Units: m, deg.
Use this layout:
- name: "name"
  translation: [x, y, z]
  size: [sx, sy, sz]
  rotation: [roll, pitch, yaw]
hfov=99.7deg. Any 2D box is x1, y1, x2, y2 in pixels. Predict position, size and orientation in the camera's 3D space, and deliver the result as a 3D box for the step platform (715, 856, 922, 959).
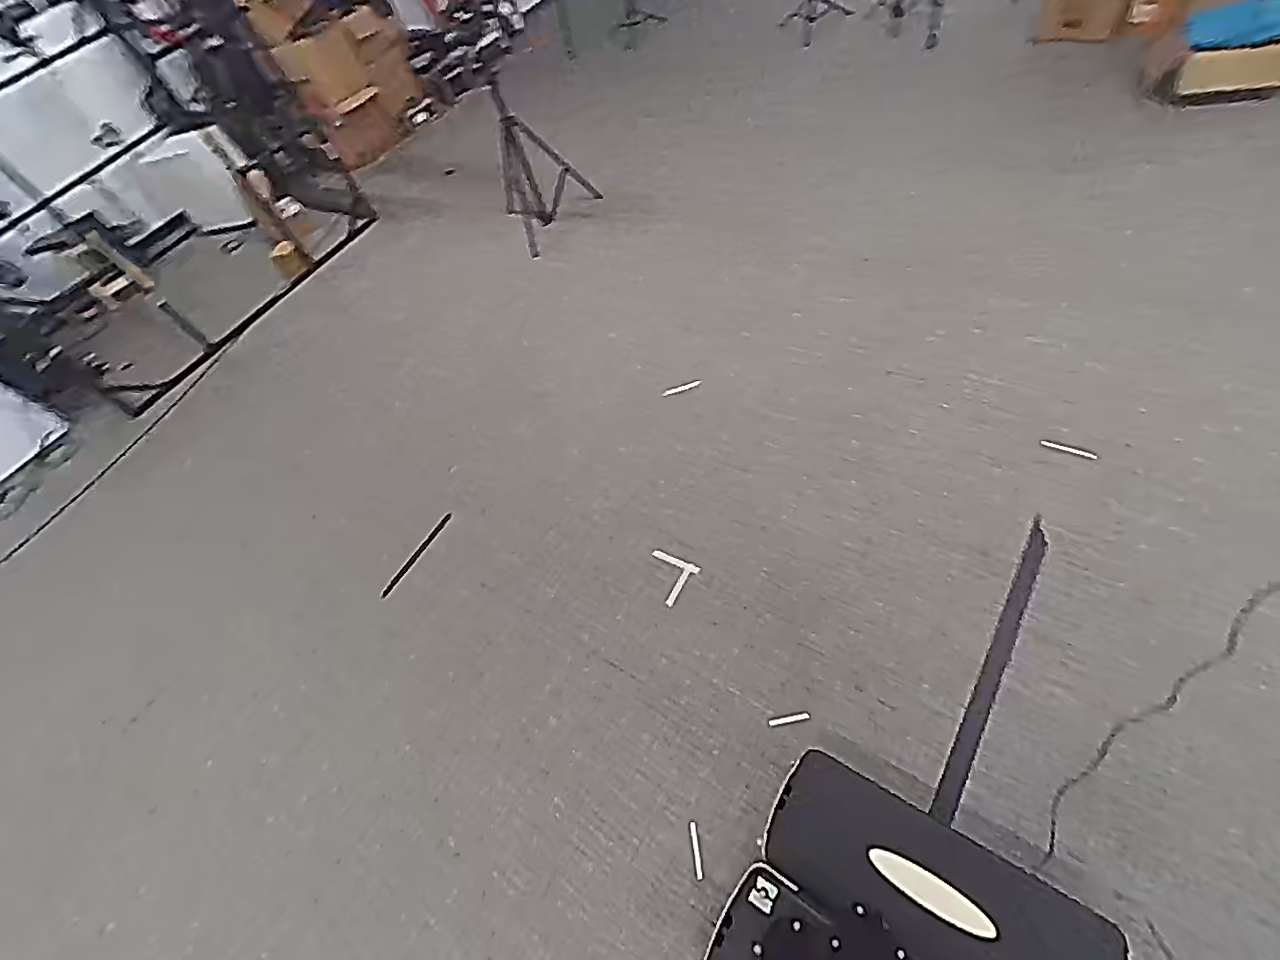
- name: "step platform"
  translation: [0.482, 1.063, 1.033]
  size: [0.684, 0.204, 0.286]
  rotation: [20, 63, 29]
